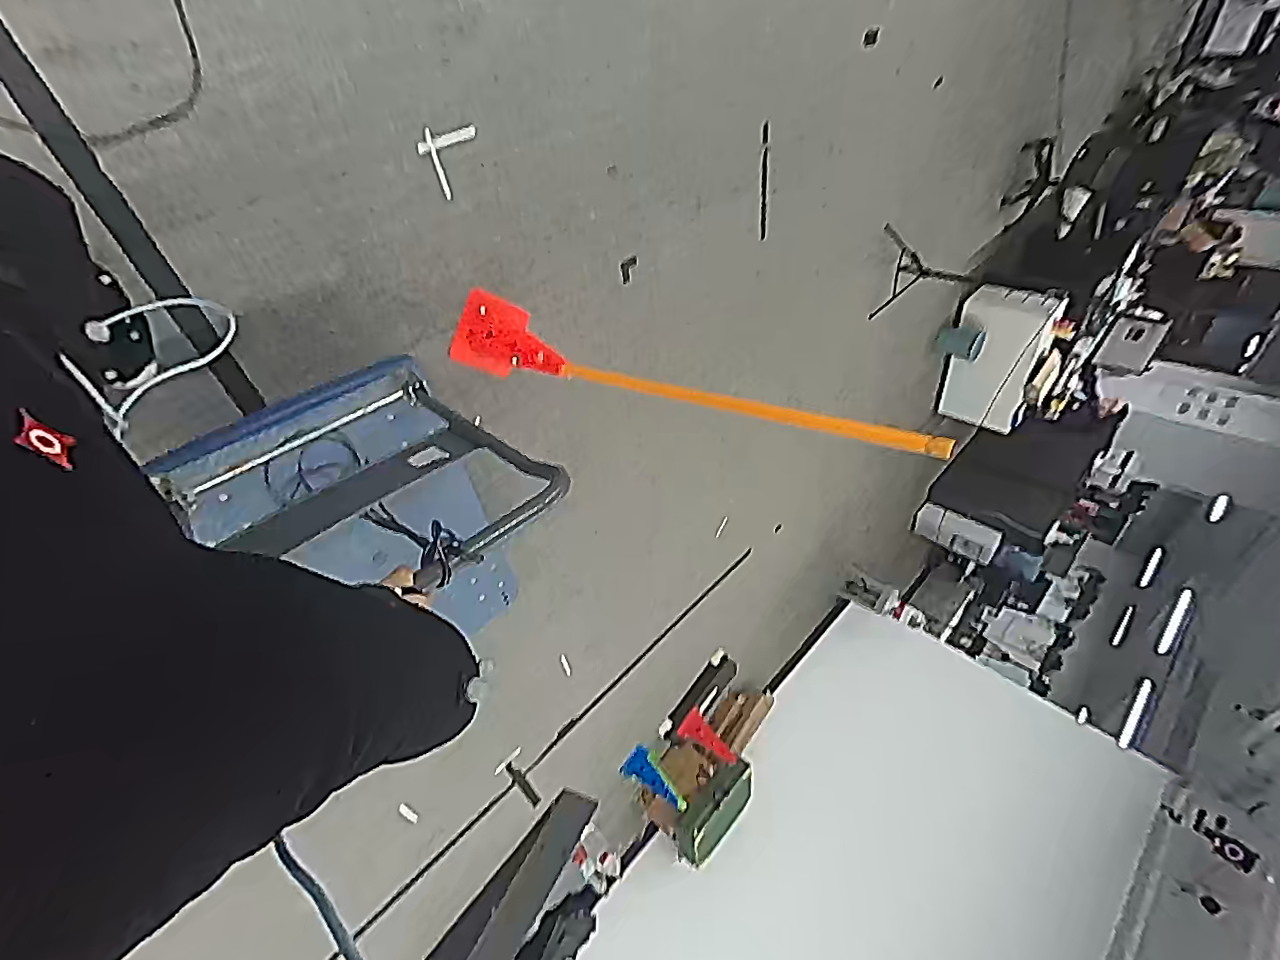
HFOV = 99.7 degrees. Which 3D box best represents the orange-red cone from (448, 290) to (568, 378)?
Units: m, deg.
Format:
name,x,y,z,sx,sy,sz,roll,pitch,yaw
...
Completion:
name,x,y,z,sx,sy,sz,roll,pitch,yaw
orange-red cone,-0.305,-0.330,1.397,0.198,0.360,0.199,15,103,-51
